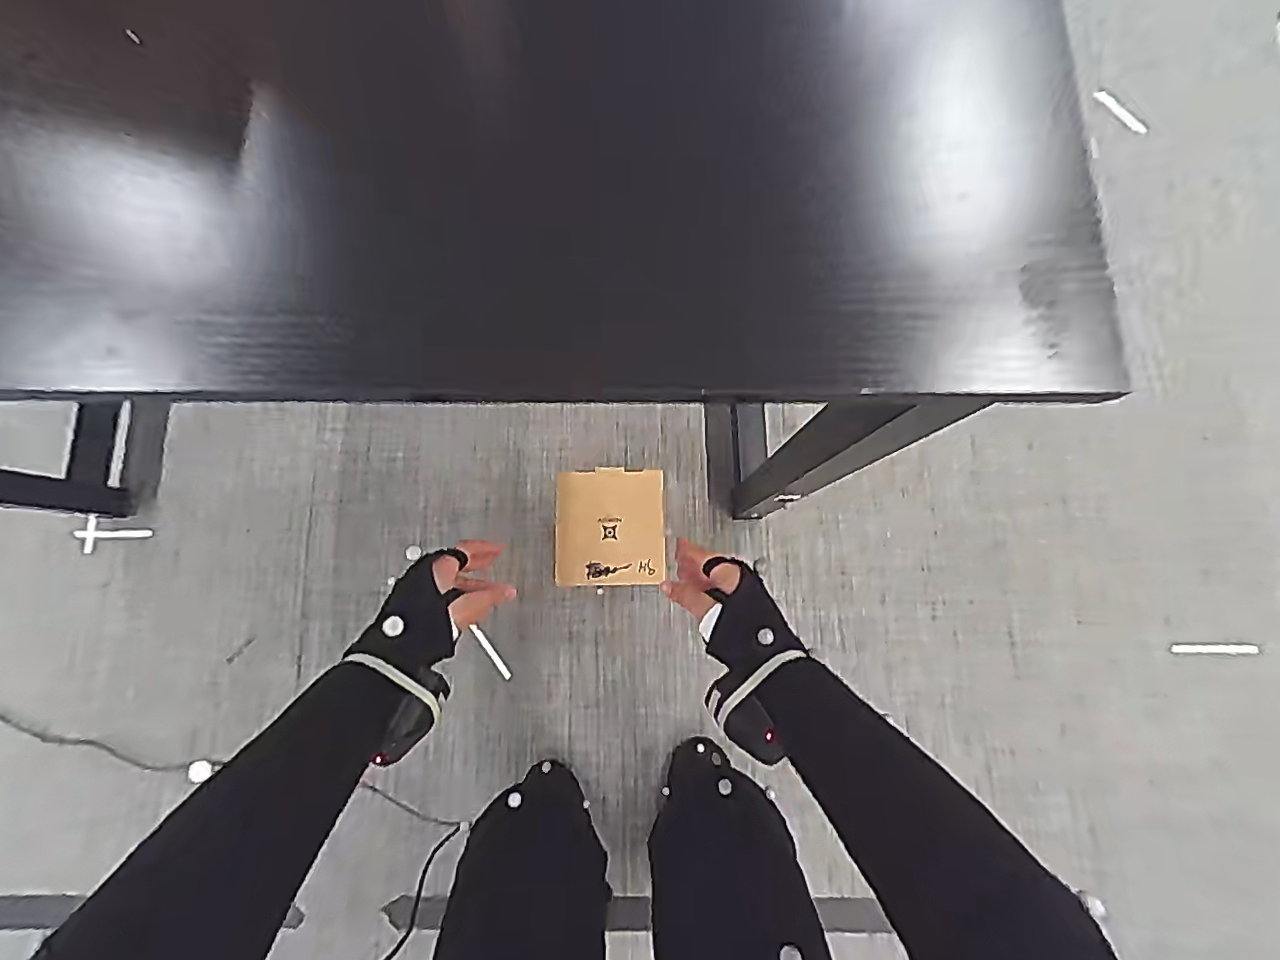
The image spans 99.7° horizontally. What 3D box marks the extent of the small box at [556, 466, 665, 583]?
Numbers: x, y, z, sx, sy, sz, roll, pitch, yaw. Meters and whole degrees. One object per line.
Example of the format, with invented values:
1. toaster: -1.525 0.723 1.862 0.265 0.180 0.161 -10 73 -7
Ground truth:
1. small box: -0.046 0.080 0.898 0.168 0.176 0.179 -1 79 0
